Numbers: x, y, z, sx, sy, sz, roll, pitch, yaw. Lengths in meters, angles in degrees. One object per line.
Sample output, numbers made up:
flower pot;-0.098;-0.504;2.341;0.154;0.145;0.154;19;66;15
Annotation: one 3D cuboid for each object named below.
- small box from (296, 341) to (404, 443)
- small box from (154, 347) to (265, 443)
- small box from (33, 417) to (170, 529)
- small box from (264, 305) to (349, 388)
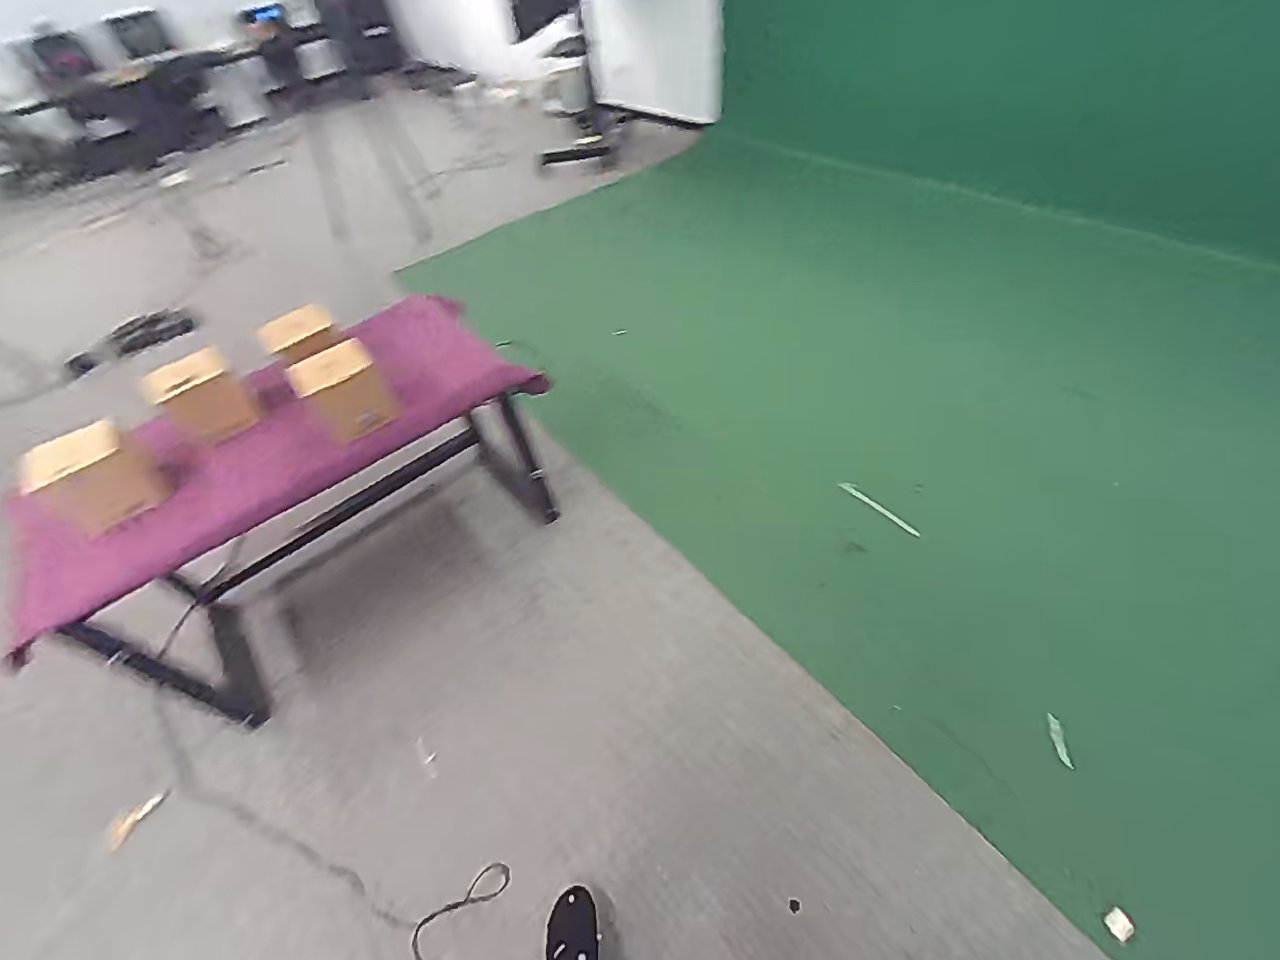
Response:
small box;-0.750;-0.227;1.406;0.168;0.176;0.179;-34;51;-20
small box;-1.162;-0.225;1.469;0.168;0.176;0.179;-35;52;-21
small box;-1.284;-0.016;1.298;0.168;0.176;0.179;-33;52;-21
small box;-0.941;-0.373;1.571;0.168;0.176;0.179;-36;54;-21
